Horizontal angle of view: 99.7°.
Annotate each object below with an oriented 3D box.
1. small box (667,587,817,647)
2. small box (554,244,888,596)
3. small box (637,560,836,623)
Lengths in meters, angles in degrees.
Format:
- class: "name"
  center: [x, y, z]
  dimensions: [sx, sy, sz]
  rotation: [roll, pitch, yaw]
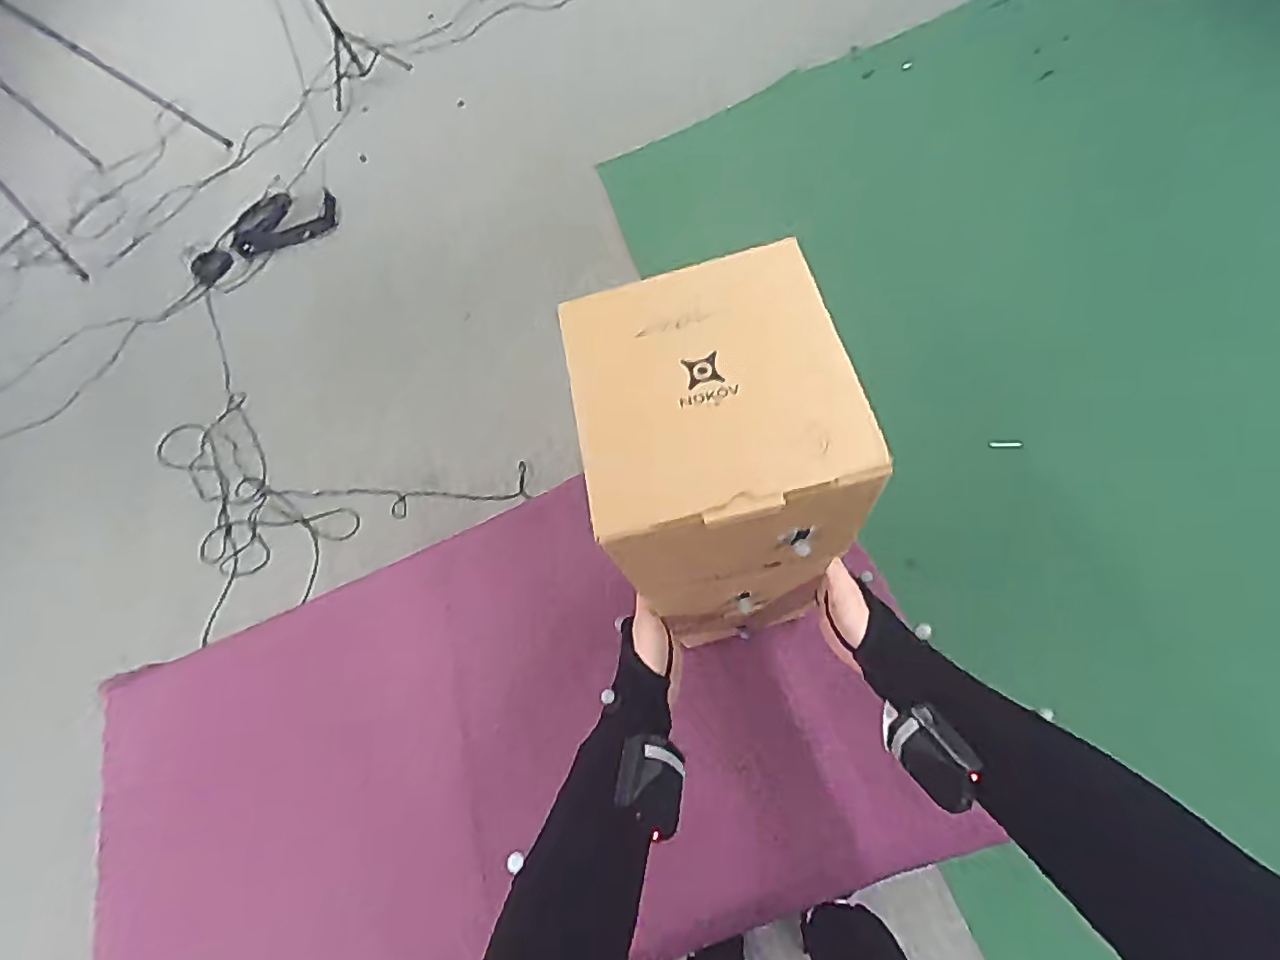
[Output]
- class: "small box"
  center: [0.107, 0.099, 0.685]
  dimensions: [0.168, 0.176, 0.179]
  rotation: [-17, 65, 5]
- class: "small box"
  center: [0.051, -0.023, 0.386]
  dimensions: [0.168, 0.176, 0.179]
  rotation: [-14, 65, 6]
- class: "small box"
  center: [0.077, 0.037, 0.537]
  dimensions: [0.168, 0.176, 0.179]
  rotation: [-15, 66, 5]
